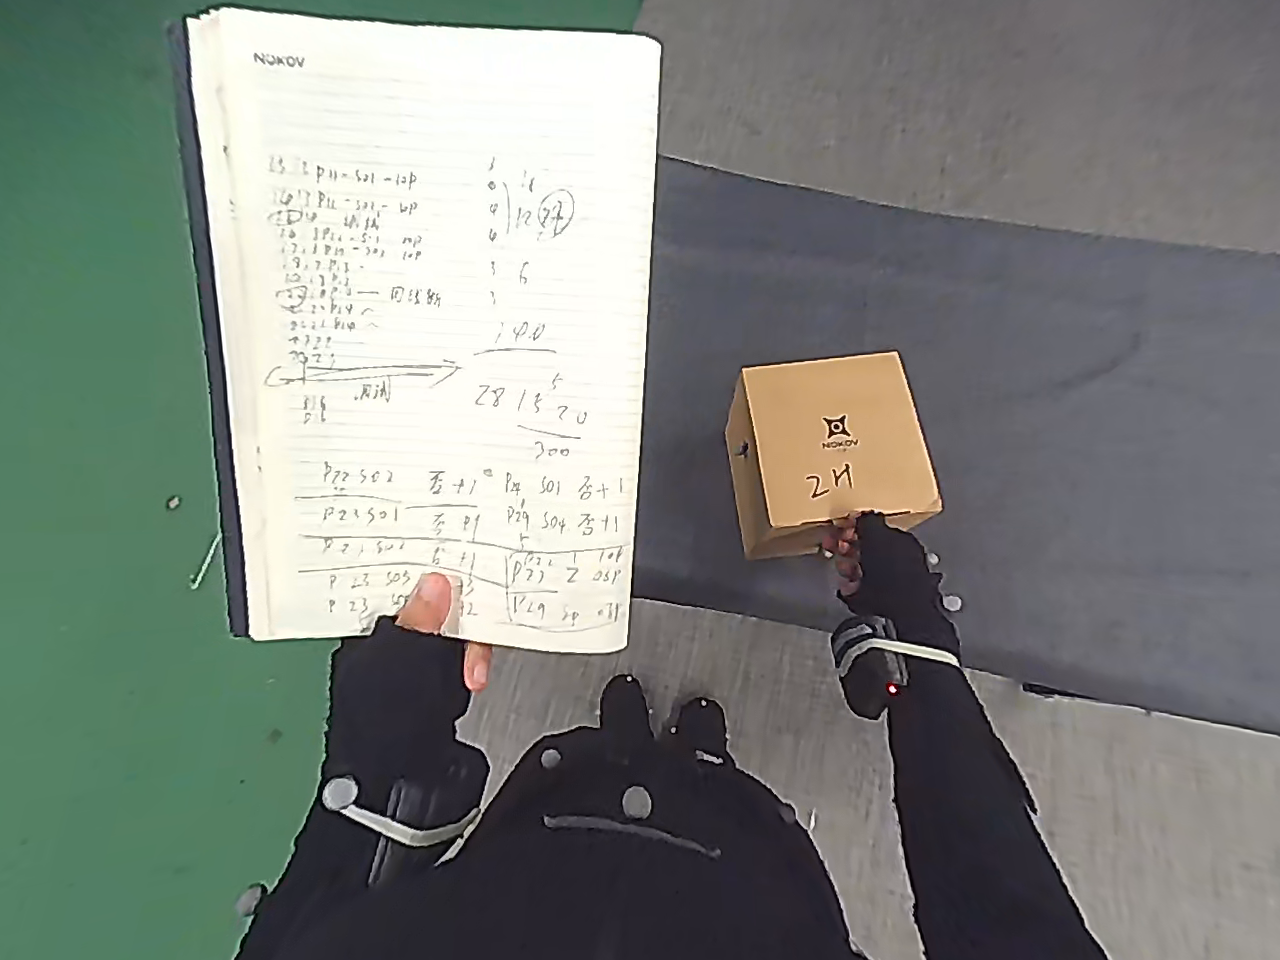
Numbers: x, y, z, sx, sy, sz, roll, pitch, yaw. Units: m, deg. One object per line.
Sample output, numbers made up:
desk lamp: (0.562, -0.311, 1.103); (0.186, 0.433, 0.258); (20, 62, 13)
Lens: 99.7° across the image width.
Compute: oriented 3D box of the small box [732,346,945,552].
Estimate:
small box: (0.204, -0.026, 0.615); (0.168, 0.176, 0.179); (-7, 71, 1)
